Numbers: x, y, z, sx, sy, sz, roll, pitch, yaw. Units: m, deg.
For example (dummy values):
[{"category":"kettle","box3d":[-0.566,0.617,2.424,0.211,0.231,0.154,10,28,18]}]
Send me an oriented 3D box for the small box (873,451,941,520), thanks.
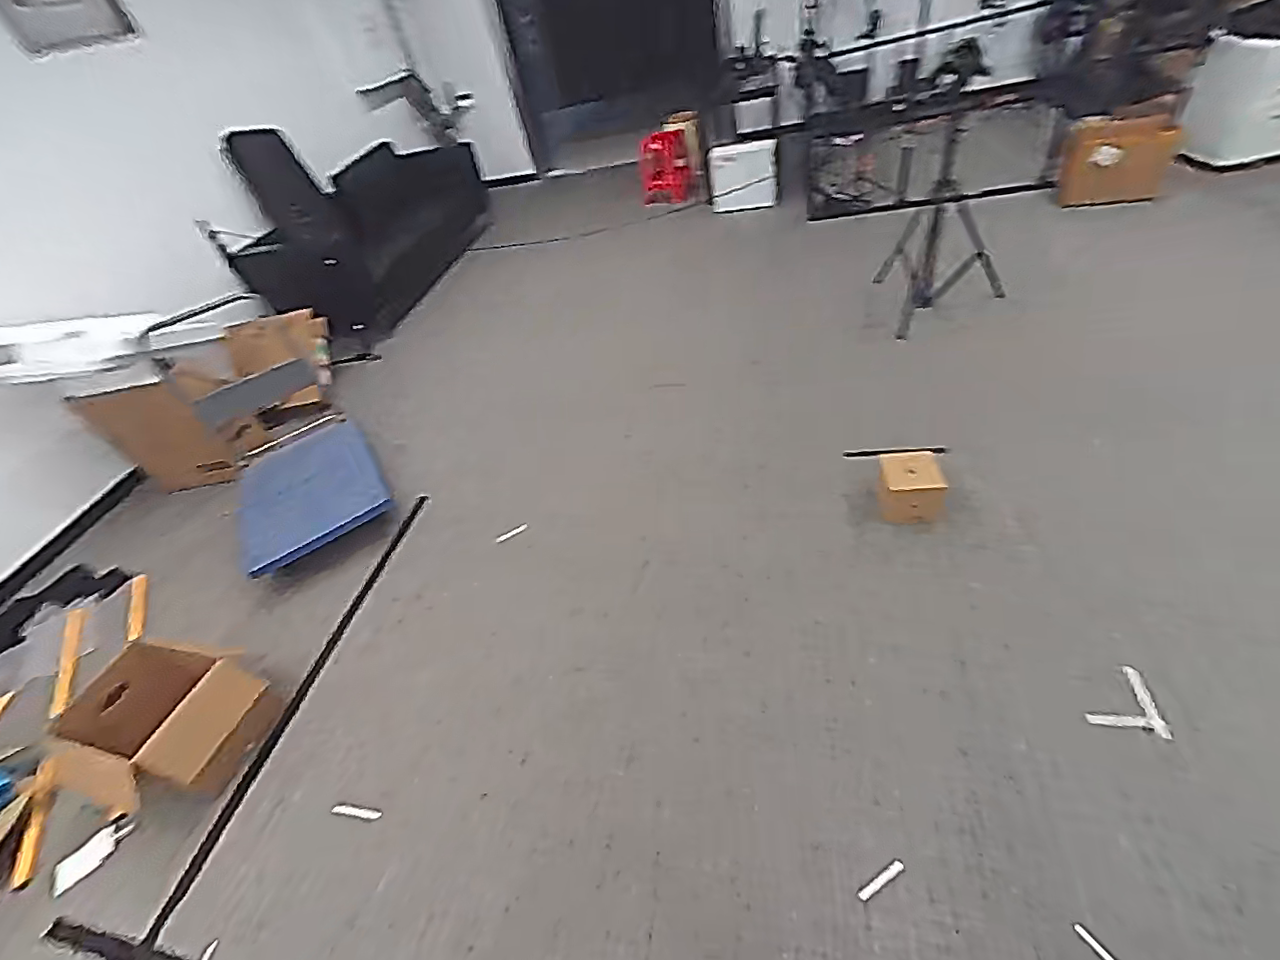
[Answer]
[{"category":"small box","box3d":[0.899,0.024,1.833,0.168,0.176,0.179,-4,43,12]}]
